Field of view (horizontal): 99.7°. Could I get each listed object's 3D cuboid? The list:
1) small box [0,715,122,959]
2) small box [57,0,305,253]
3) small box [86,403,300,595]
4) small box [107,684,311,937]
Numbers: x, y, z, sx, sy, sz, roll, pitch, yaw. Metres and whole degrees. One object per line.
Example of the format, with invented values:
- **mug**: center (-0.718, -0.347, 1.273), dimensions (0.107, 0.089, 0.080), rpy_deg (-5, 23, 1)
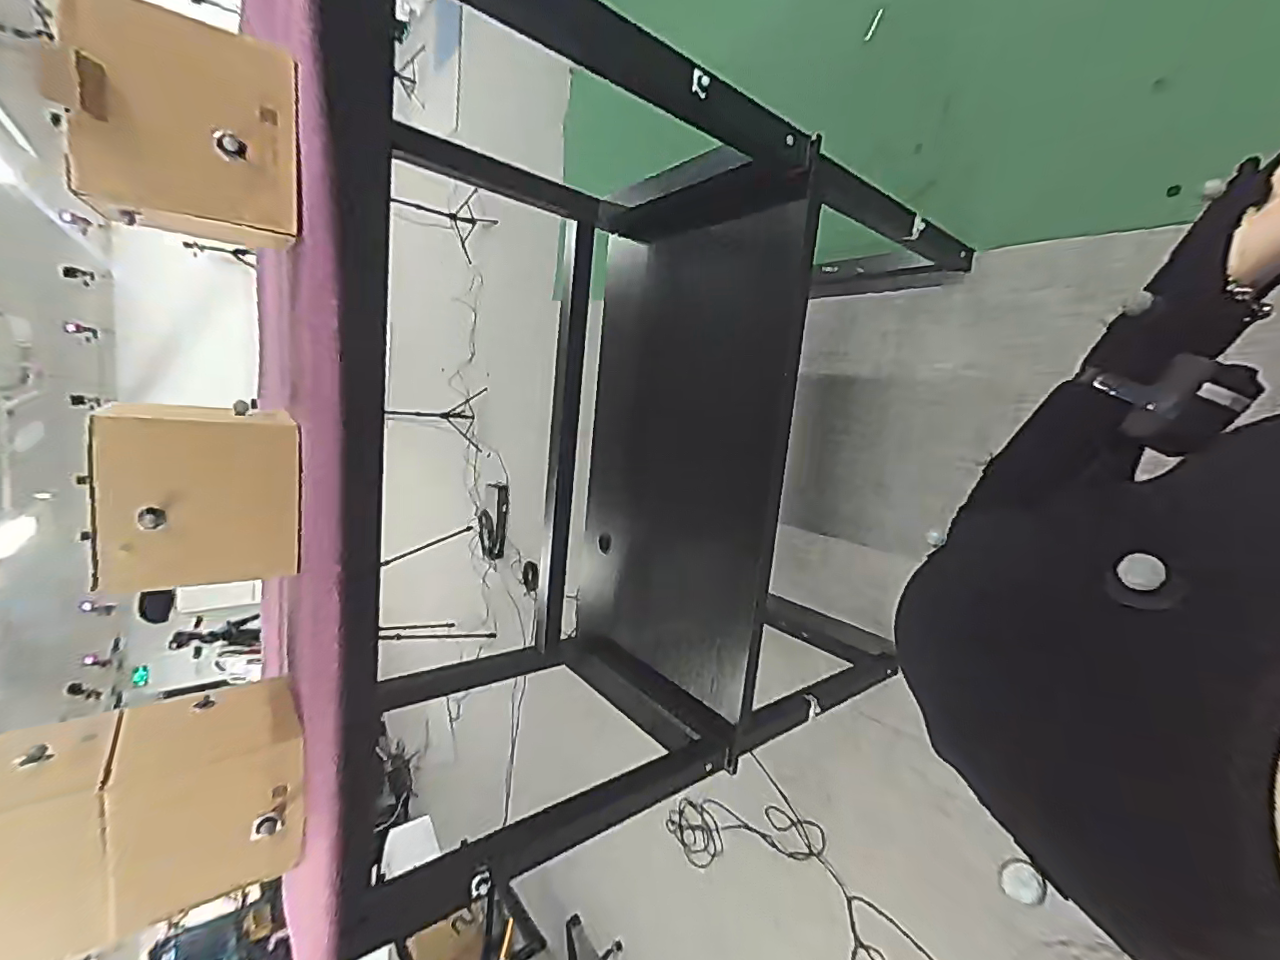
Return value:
- **small box**: center (-0.631, 0.370, 0.537), dimensions (0.168, 0.176, 0.179), rpy_deg (9, 98, 50)
- **small box**: center (-0.453, -0.342, 0.556), dimensions (0.179, 0.176, 0.168), rpy_deg (21, 109, 51)
- **small box**: center (-0.491, 0.012, 0.615), dimensions (0.168, 0.176, 0.179), rpy_deg (17, 104, 51)
- **small box**: center (-0.501, 0.361, 0.638), dimensions (0.179, 0.176, 0.168), rpy_deg (10, 99, 50)
